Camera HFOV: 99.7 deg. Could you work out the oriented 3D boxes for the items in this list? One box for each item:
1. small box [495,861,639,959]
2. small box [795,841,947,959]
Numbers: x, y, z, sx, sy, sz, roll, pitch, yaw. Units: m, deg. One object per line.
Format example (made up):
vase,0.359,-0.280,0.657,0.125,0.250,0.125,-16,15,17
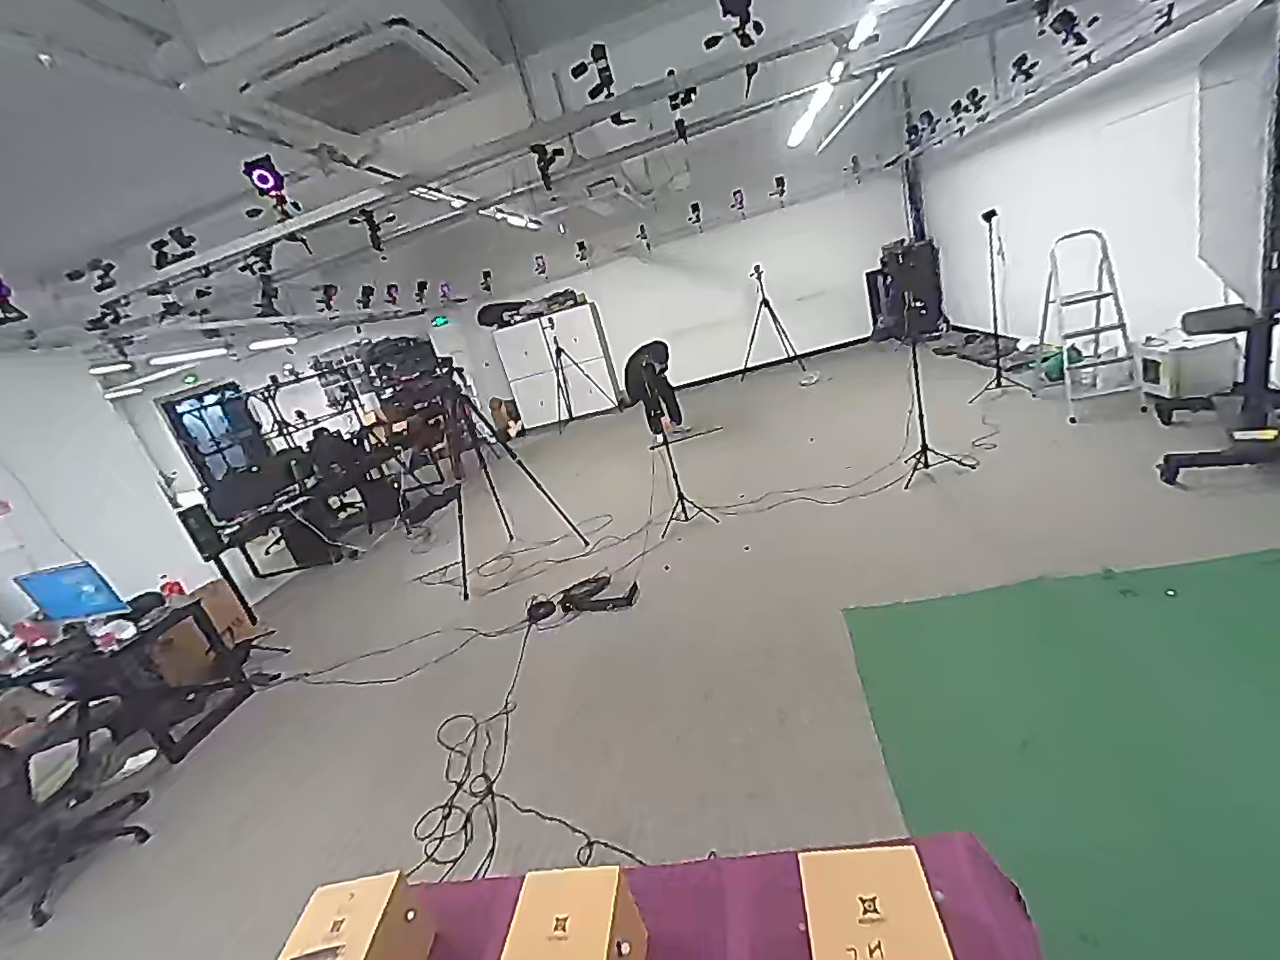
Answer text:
small box,-0.105,0.730,0.829,0.168,0.176,0.179,-12,20,11
small box,0.317,0.639,0.740,0.168,0.176,0.179,-12,19,13
